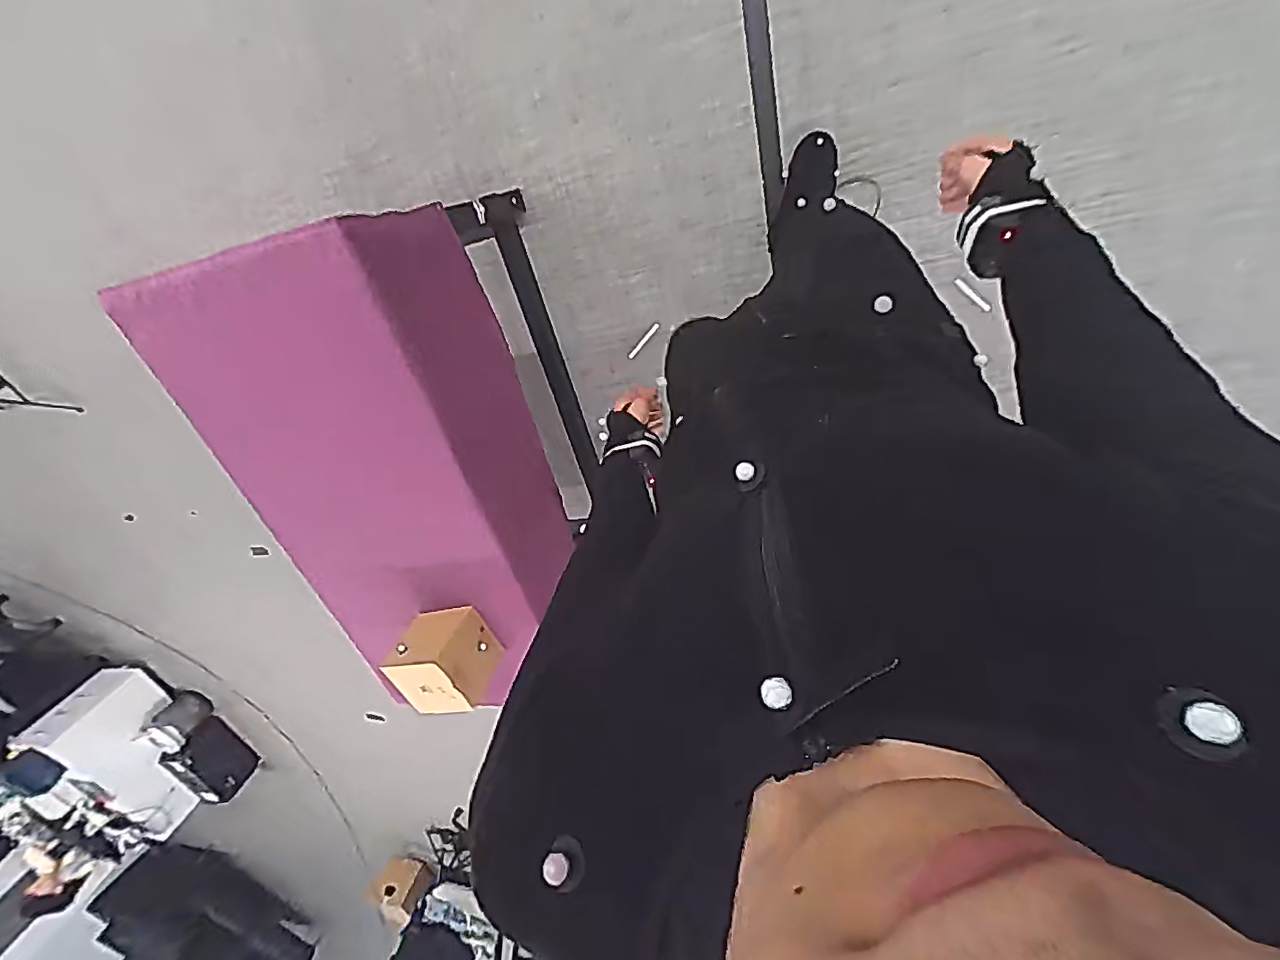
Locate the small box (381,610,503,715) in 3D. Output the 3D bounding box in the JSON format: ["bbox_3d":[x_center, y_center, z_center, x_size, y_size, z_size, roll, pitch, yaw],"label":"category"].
[{"bbox_3d":[-0.461,0.431,1.286,0.179,0.176,0.168,-14,118,23],"label":"small box"}]
